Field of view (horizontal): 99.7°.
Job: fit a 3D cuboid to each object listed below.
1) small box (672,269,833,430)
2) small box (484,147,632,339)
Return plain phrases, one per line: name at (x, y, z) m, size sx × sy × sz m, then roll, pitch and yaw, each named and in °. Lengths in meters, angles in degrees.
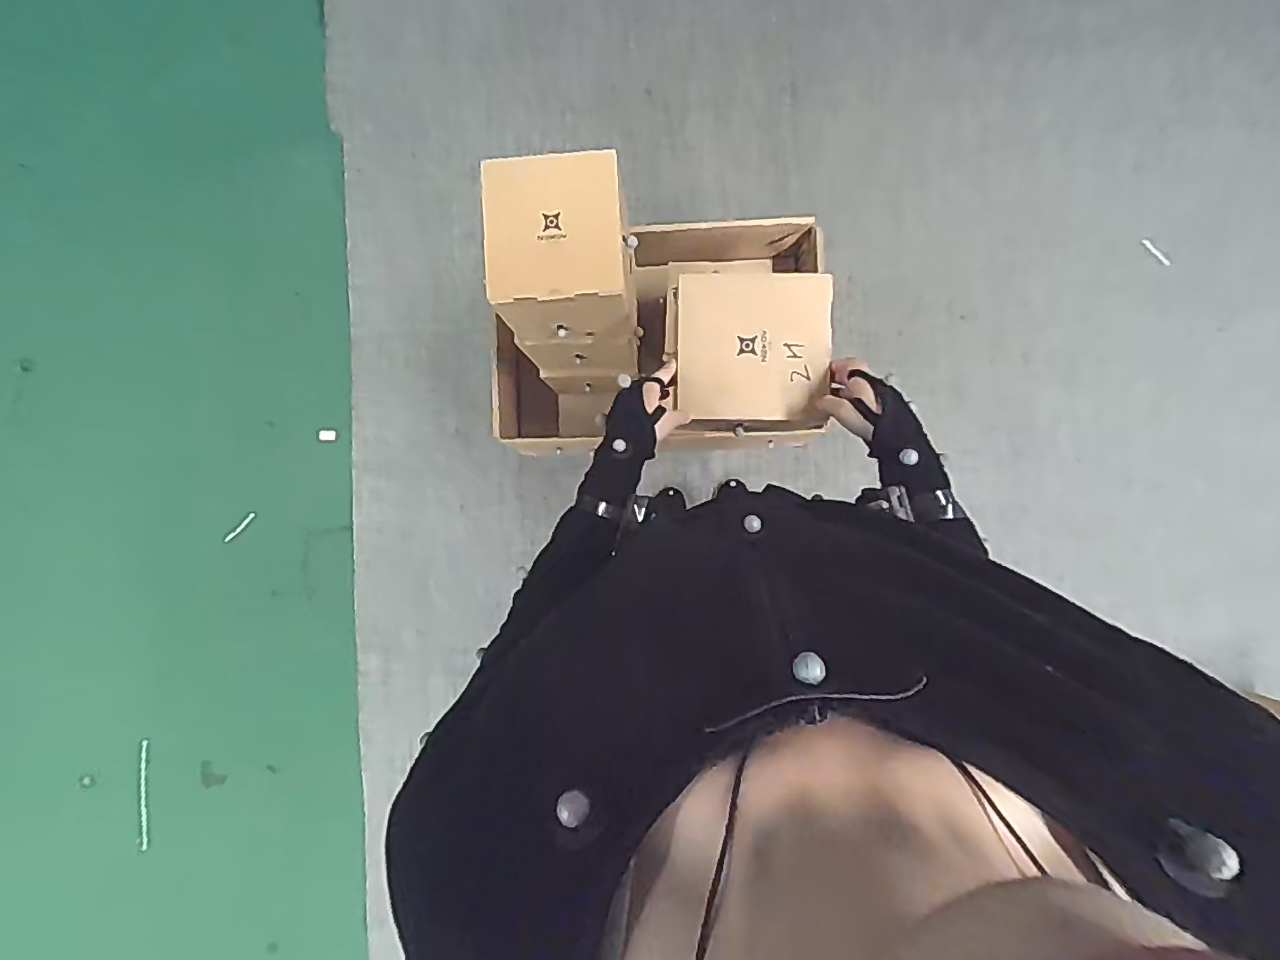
small box at (0.129, -0.151, 0.679) m, size 0.179 × 0.176 × 0.168 m, roll 1°, pitch 91°, yaw 2°
small box at (-0.099, -0.301, 0.716) m, size 0.168 × 0.176 × 0.179 m, roll -3°, pitch 88°, yaw 3°
